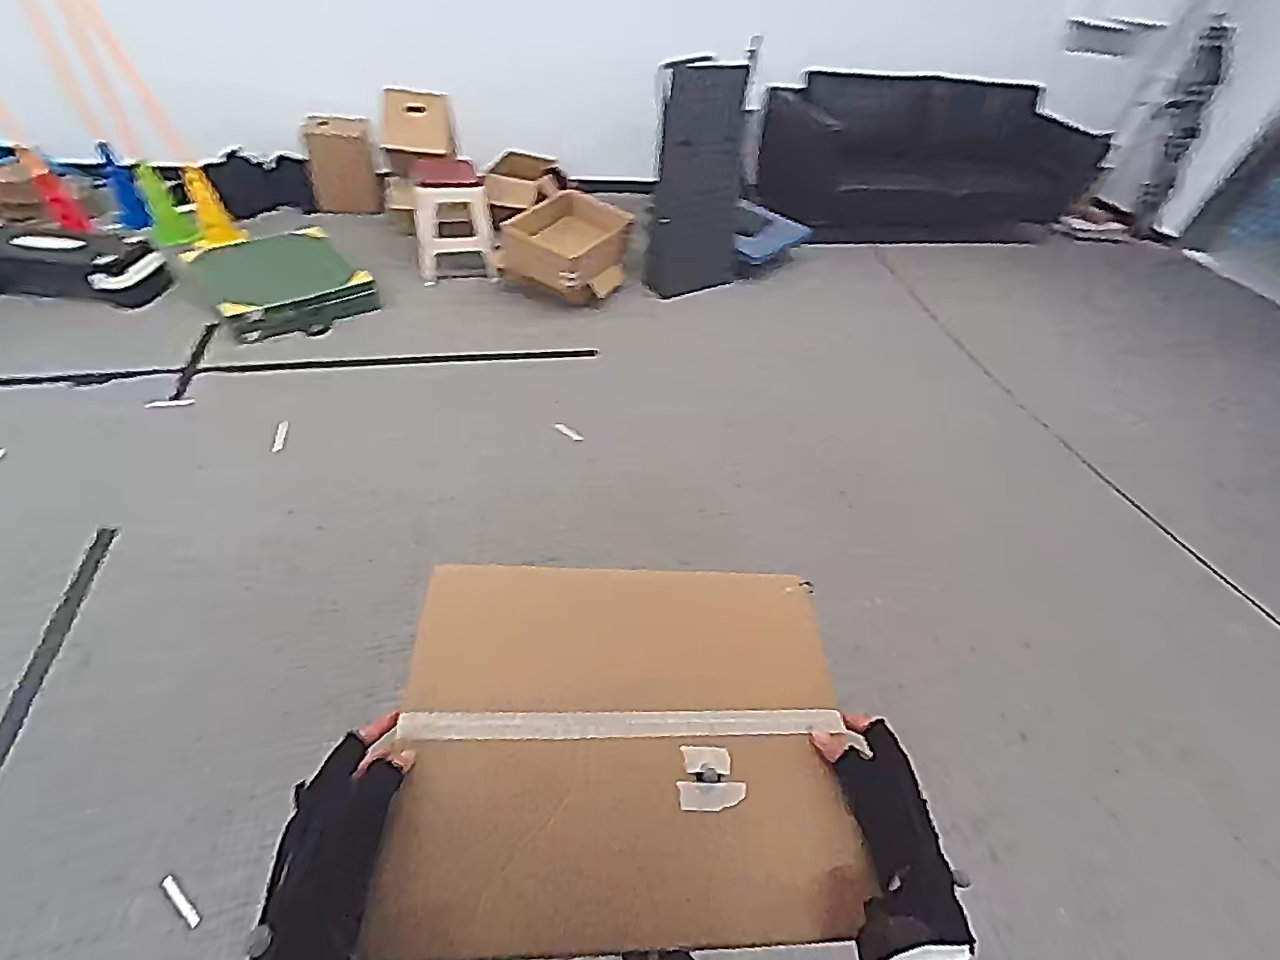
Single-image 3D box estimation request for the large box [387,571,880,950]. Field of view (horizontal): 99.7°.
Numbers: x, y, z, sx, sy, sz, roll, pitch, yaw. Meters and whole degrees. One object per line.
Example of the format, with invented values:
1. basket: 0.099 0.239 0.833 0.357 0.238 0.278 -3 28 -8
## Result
1. large box: -0.021 0.318 0.629 0.408 0.320 0.320 3 53 -7
